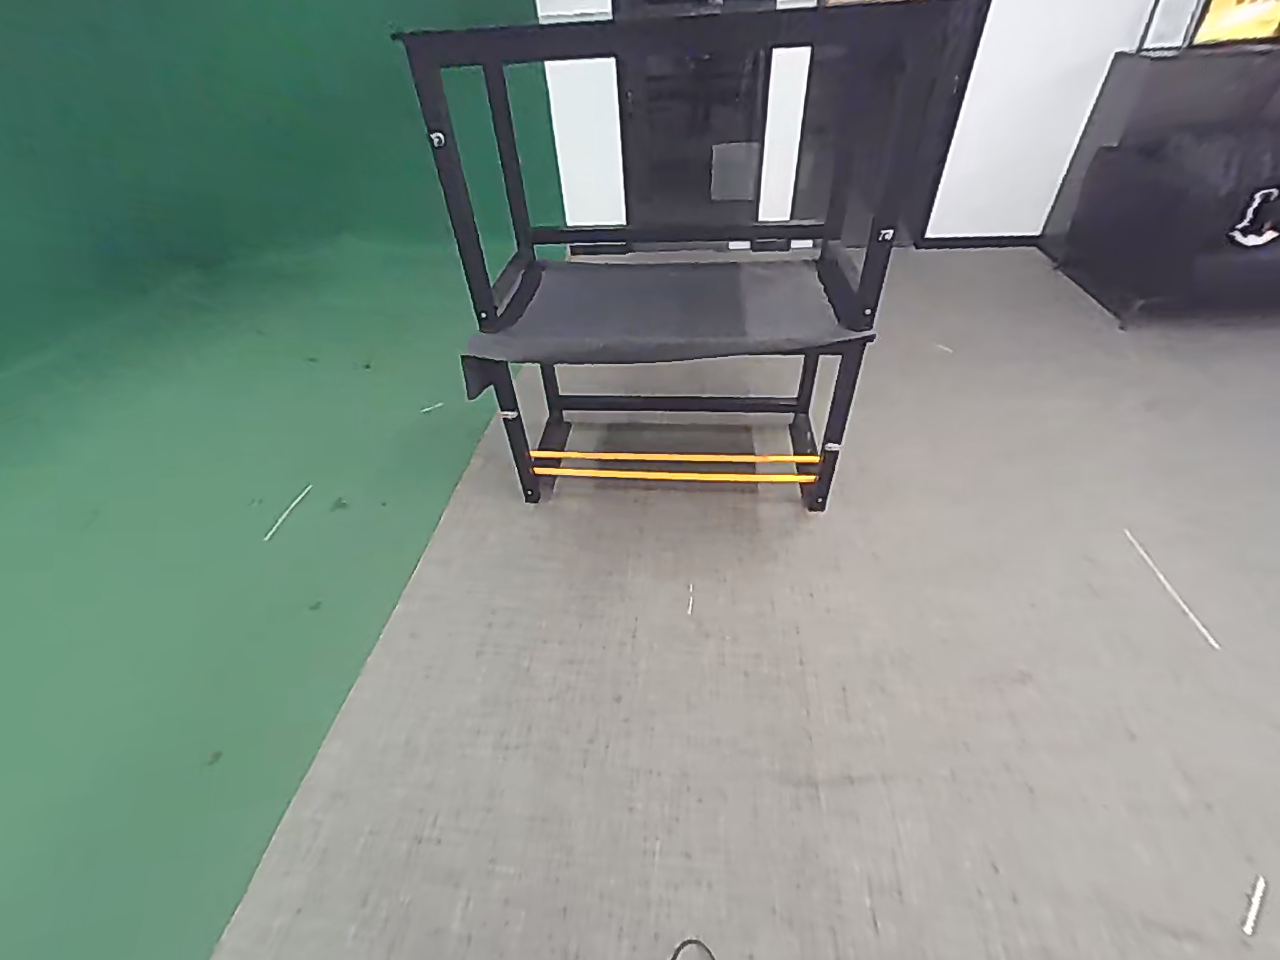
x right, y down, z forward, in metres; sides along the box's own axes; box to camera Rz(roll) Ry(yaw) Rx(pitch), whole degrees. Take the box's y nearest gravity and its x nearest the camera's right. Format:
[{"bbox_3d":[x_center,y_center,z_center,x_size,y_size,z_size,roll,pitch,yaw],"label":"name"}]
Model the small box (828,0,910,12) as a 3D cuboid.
[{"bbox_3d":[0.502,-1.120,1.160,0.168,0.176,0.179,6,42,12],"label":"small box"}]
